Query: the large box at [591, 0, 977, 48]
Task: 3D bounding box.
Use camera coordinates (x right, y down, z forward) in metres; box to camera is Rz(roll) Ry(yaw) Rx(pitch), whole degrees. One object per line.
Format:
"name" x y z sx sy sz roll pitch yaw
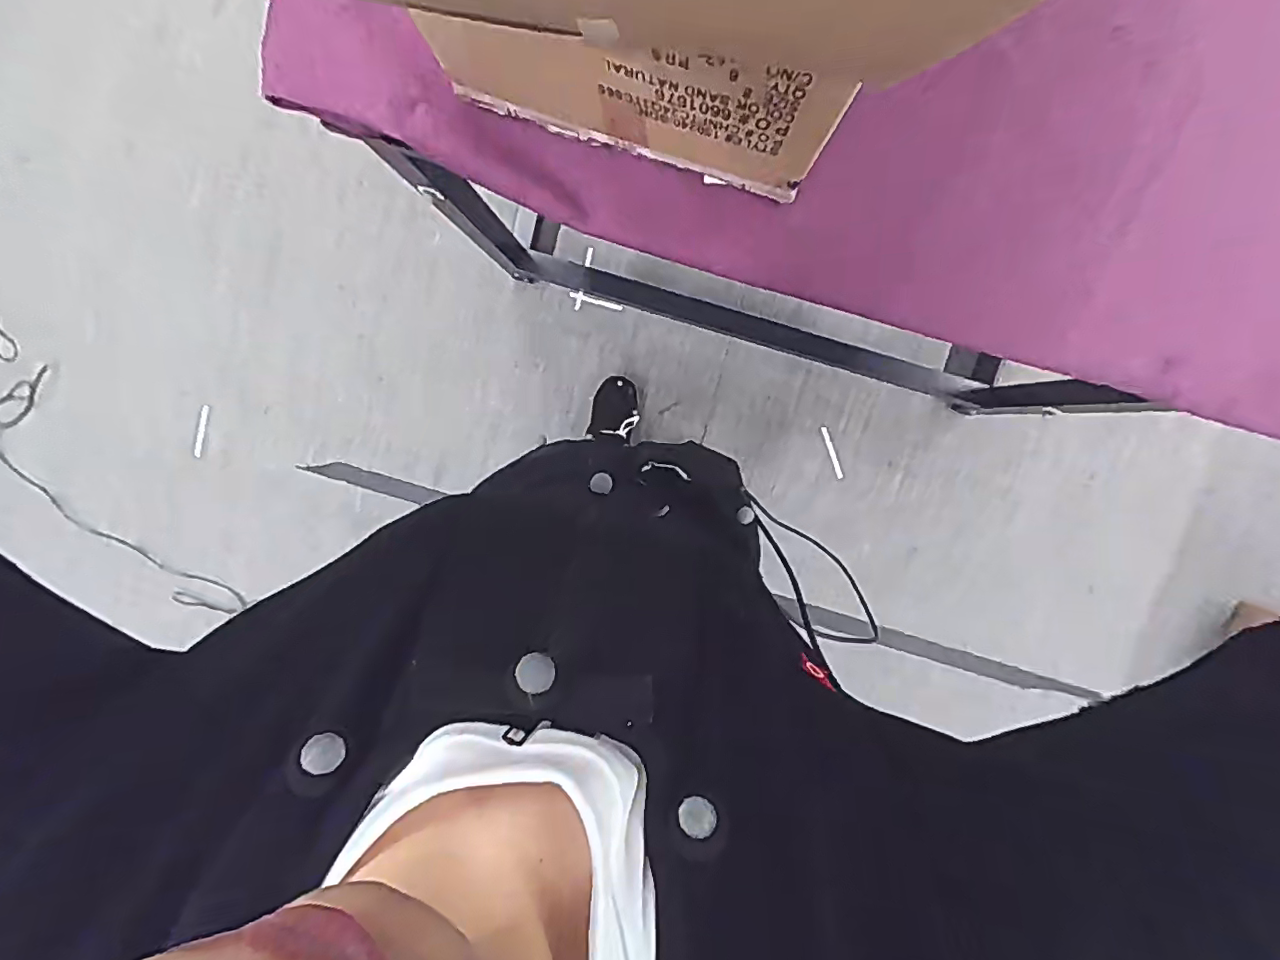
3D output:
"large box" 0.014 -0.354 0.057 0.320 0.320 0.408 8 115 -1
